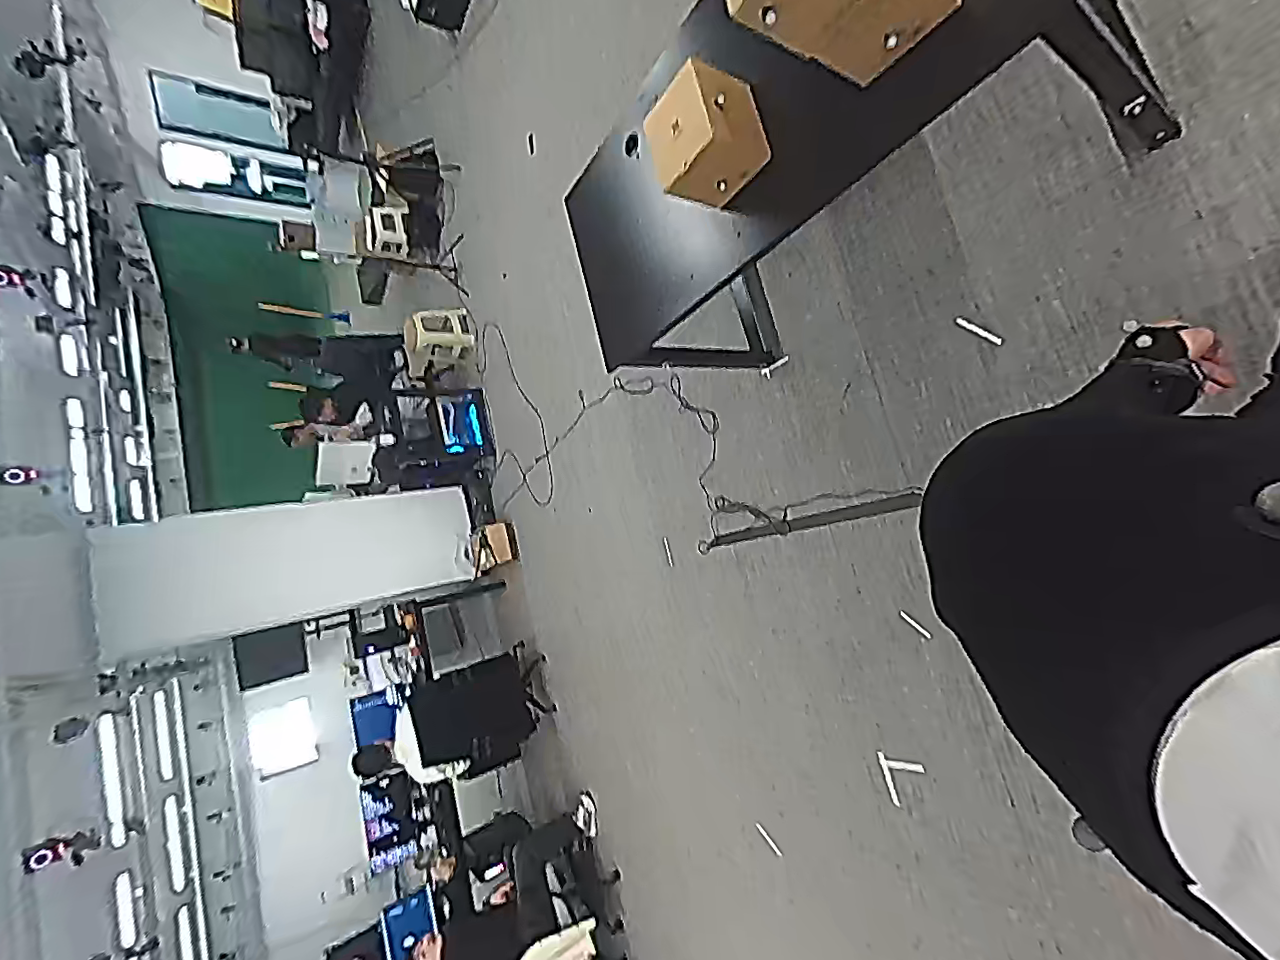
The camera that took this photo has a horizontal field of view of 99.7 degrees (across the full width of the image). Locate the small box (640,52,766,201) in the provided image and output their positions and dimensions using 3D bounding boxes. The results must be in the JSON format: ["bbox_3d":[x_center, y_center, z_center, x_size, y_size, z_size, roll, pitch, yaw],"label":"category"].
[{"bbox_3d":[0.130,-0.714,1.115,0.168,0.176,0.179,-25,77,53],"label":"small box"}]

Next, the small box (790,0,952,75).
[{"bbox_3d":[0.341,-0.768,0.814,0.168,0.176,0.179,-16,83,55],"label":"small box"}]
